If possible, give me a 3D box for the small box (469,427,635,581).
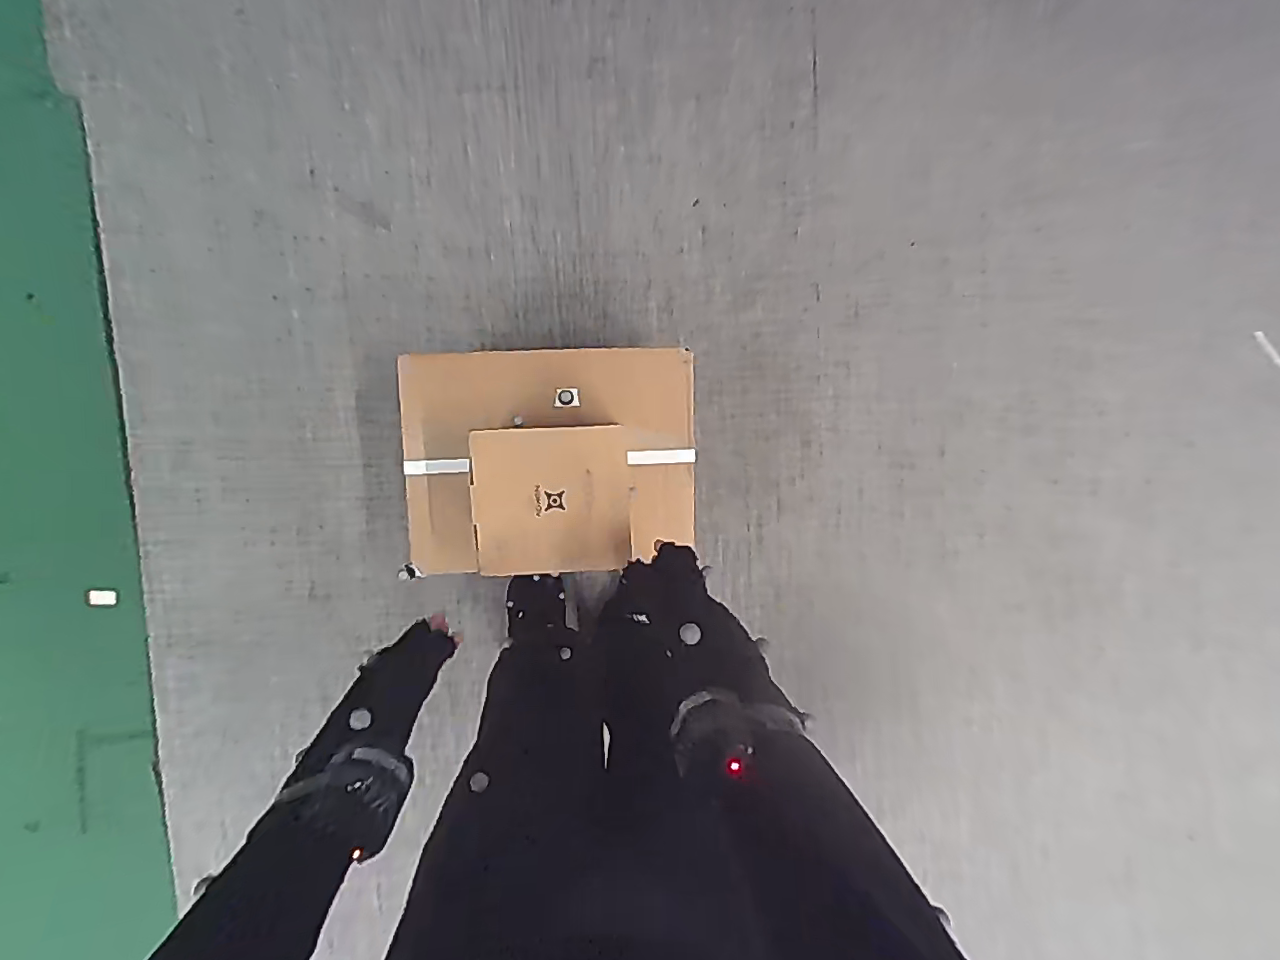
[{"bbox_3d":[-0.101,0.021,0.681,0.179,0.176,0.168,-5,97,-3],"label":"small box"}]
